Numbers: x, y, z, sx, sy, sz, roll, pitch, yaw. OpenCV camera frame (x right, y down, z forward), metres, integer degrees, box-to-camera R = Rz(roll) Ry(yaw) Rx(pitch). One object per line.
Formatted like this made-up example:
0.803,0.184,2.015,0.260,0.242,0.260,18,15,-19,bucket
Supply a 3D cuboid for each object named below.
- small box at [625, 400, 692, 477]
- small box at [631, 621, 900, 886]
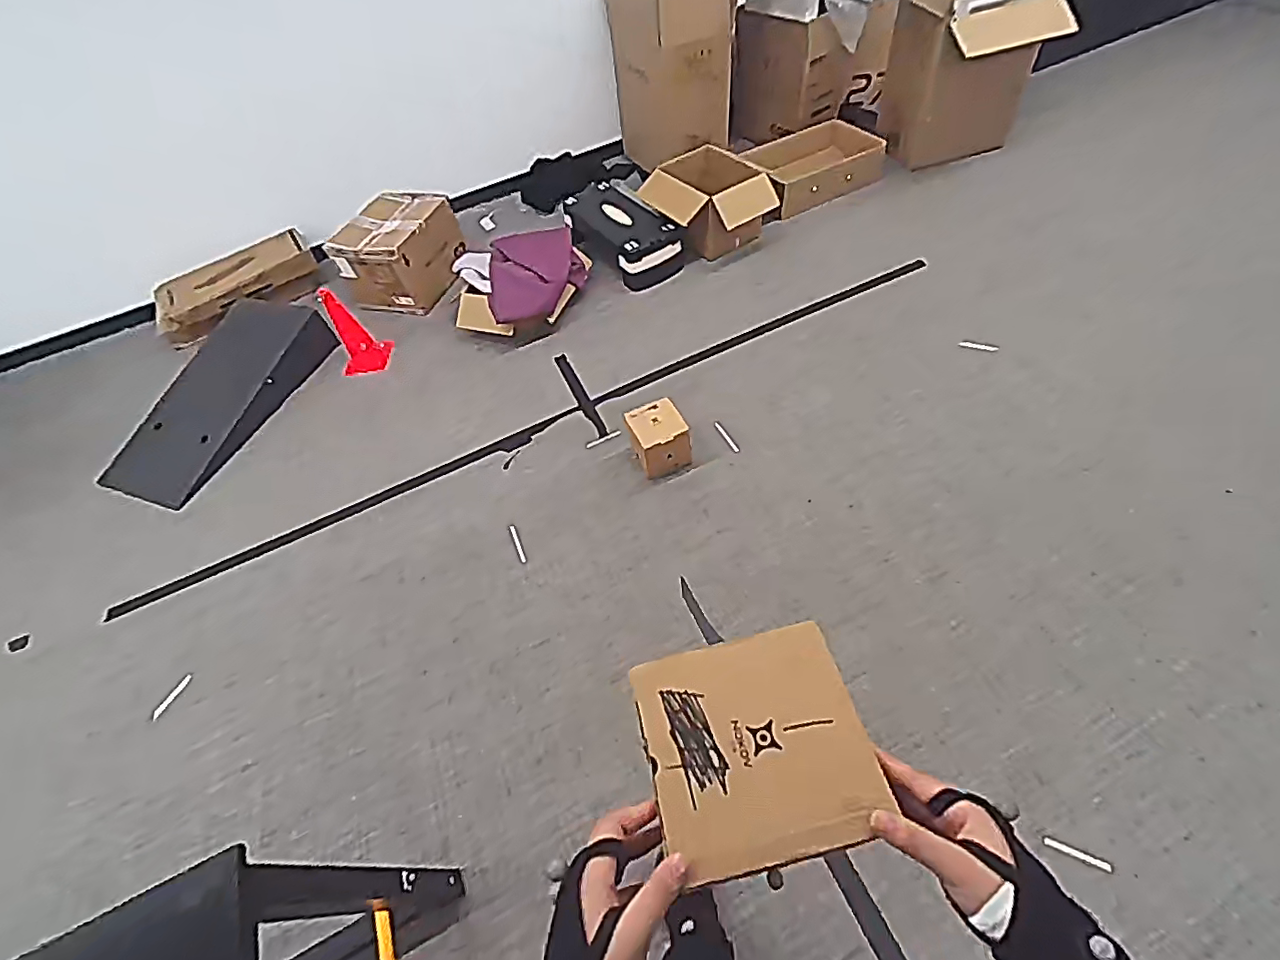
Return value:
0.067,-0.131,1.829,0.168,0.176,0.179,-23,54,-8,small box
0.101,0.257,0.499,0.179,0.176,0.168,-14,52,-1,small box
